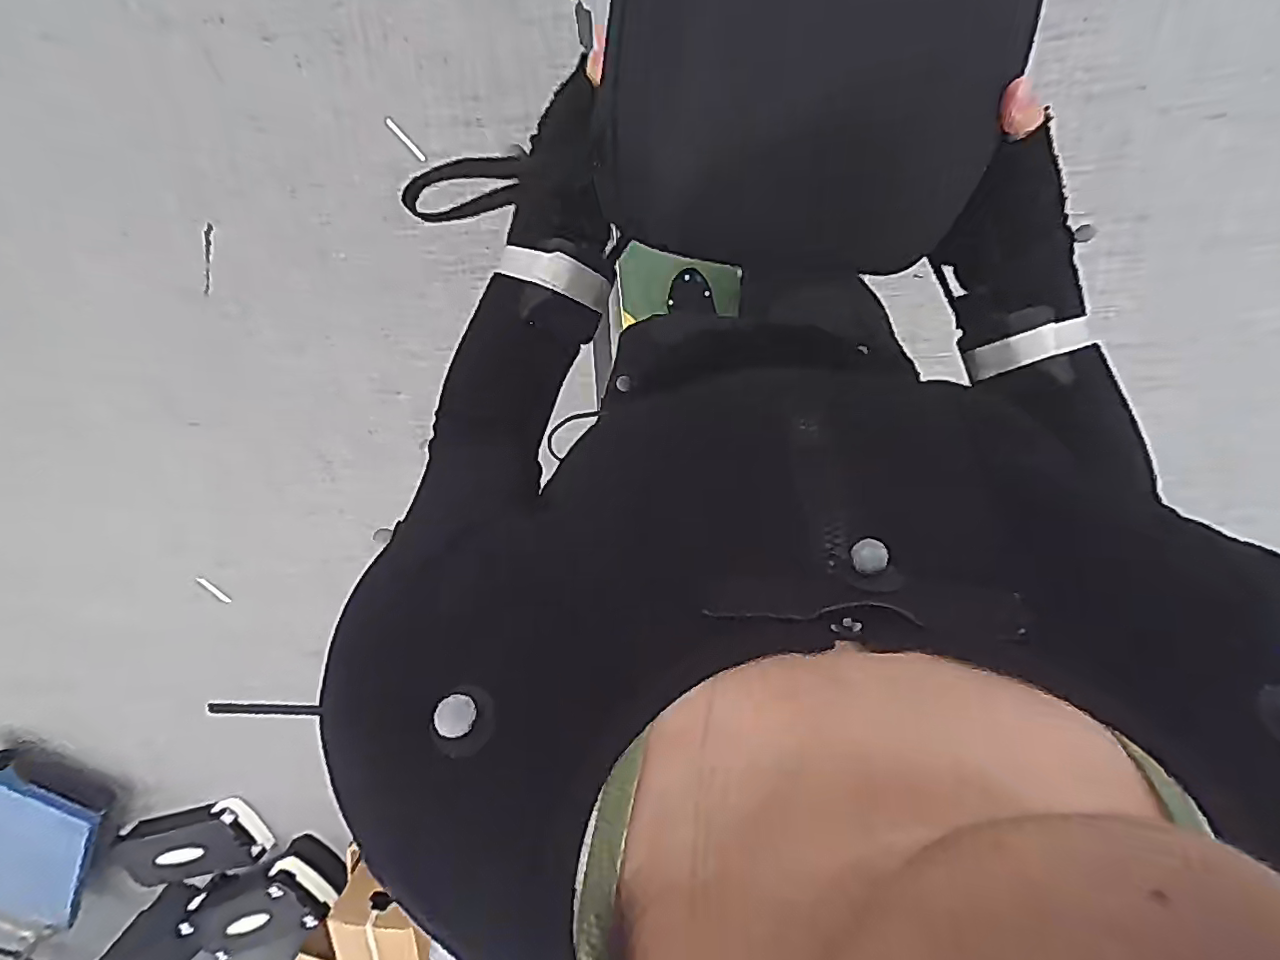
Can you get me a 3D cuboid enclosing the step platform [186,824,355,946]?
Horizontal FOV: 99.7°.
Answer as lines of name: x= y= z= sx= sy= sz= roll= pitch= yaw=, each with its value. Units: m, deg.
step platform: x=-1.577 y=1.735 z=2.306 sx=0.684 sy=0.204 sz=0.286 roll=-30 pitch=106 yaw=14
